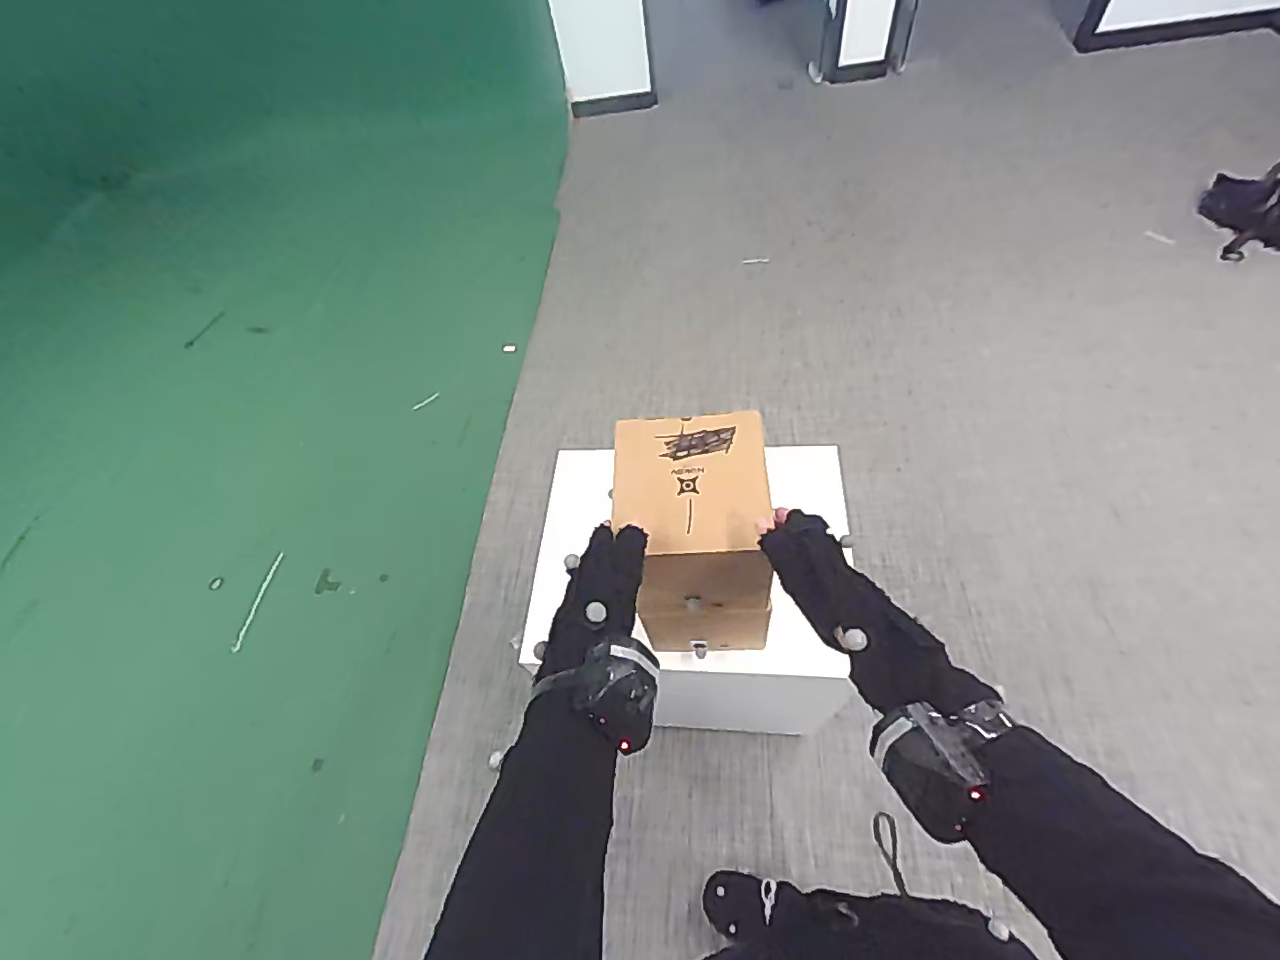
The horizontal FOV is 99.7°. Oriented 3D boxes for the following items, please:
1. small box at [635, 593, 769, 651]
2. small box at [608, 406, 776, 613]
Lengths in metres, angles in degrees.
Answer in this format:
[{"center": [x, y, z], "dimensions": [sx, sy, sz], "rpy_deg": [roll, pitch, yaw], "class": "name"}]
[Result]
[{"center": [0.087, 0.131, 0.768], "dimensions": [0.168, 0.176, 0.179], "rpy_deg": [-5, 58, 8], "class": "small box"}, {"center": [0.059, 0.039, 0.634], "dimensions": [0.168, 0.176, 0.179], "rpy_deg": [-6, 55, 6], "class": "small box"}]
